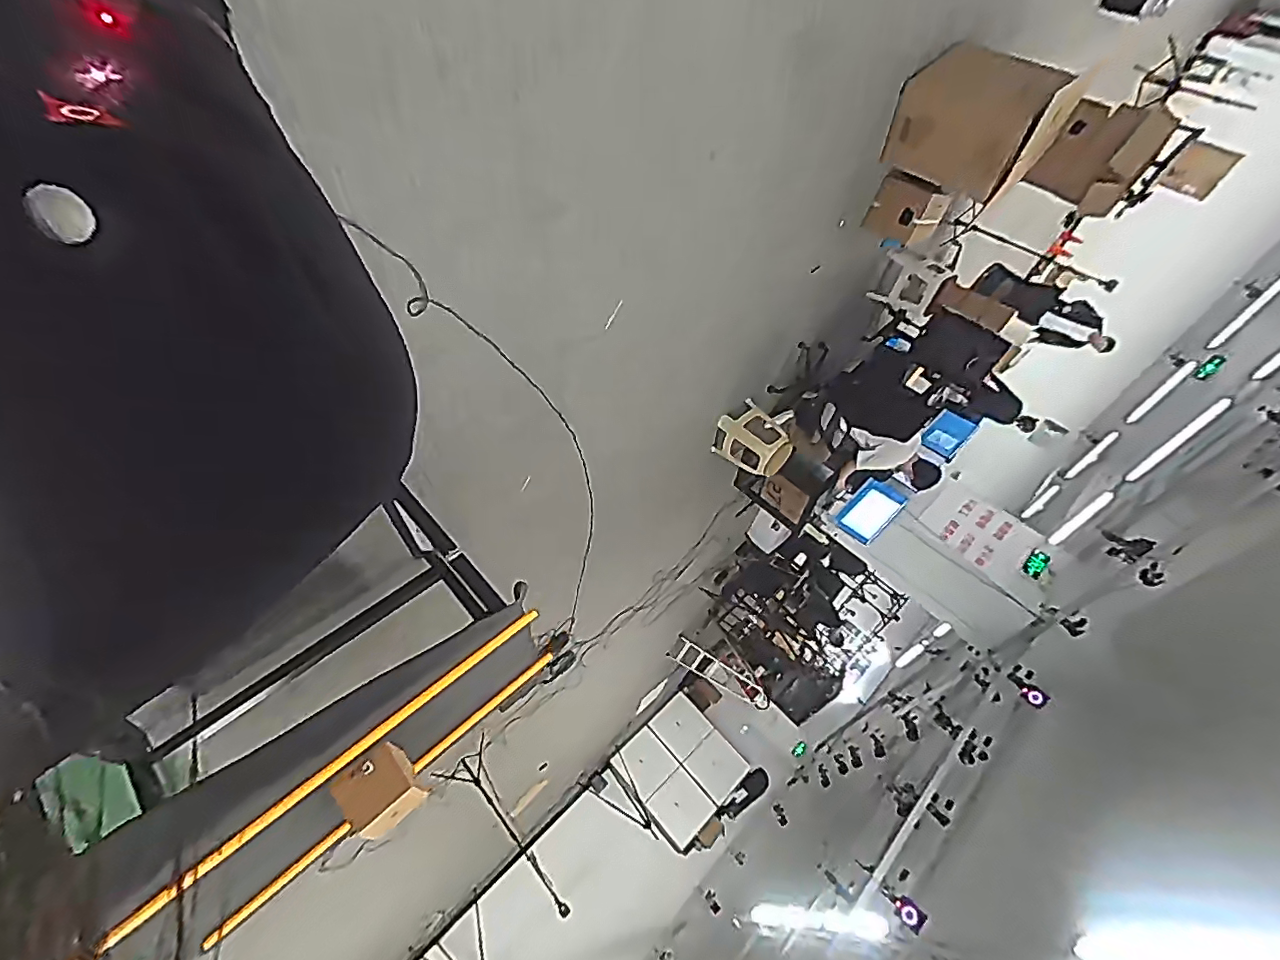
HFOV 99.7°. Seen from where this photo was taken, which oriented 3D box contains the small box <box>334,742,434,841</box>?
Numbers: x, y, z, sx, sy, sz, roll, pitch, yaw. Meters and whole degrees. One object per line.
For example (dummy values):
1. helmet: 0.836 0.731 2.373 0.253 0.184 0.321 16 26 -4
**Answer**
1. small box: -0.714 0.870 1.517 0.168 0.176 0.179 -39 152 -25
